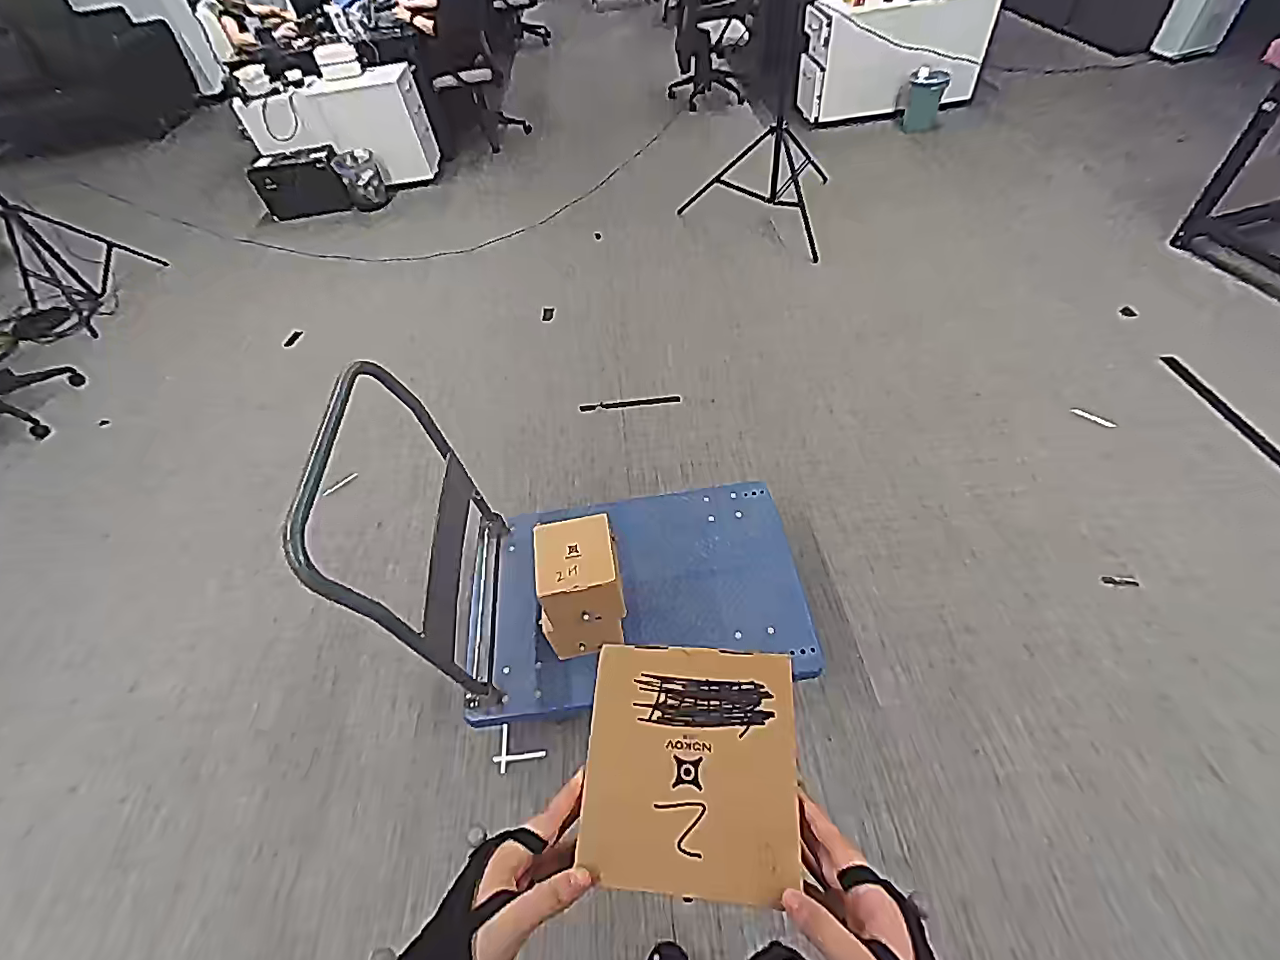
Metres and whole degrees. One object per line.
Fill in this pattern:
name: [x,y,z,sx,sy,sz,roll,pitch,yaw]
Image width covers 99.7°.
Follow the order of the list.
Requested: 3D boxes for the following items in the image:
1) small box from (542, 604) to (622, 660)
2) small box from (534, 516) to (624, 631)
small box: [-0.143,0.316,1.323,0.168,0.176,0.179,-11,51,-2]
small box: [-0.134,0.209,1.196,0.168,0.176,0.179,-11,51,-1]
